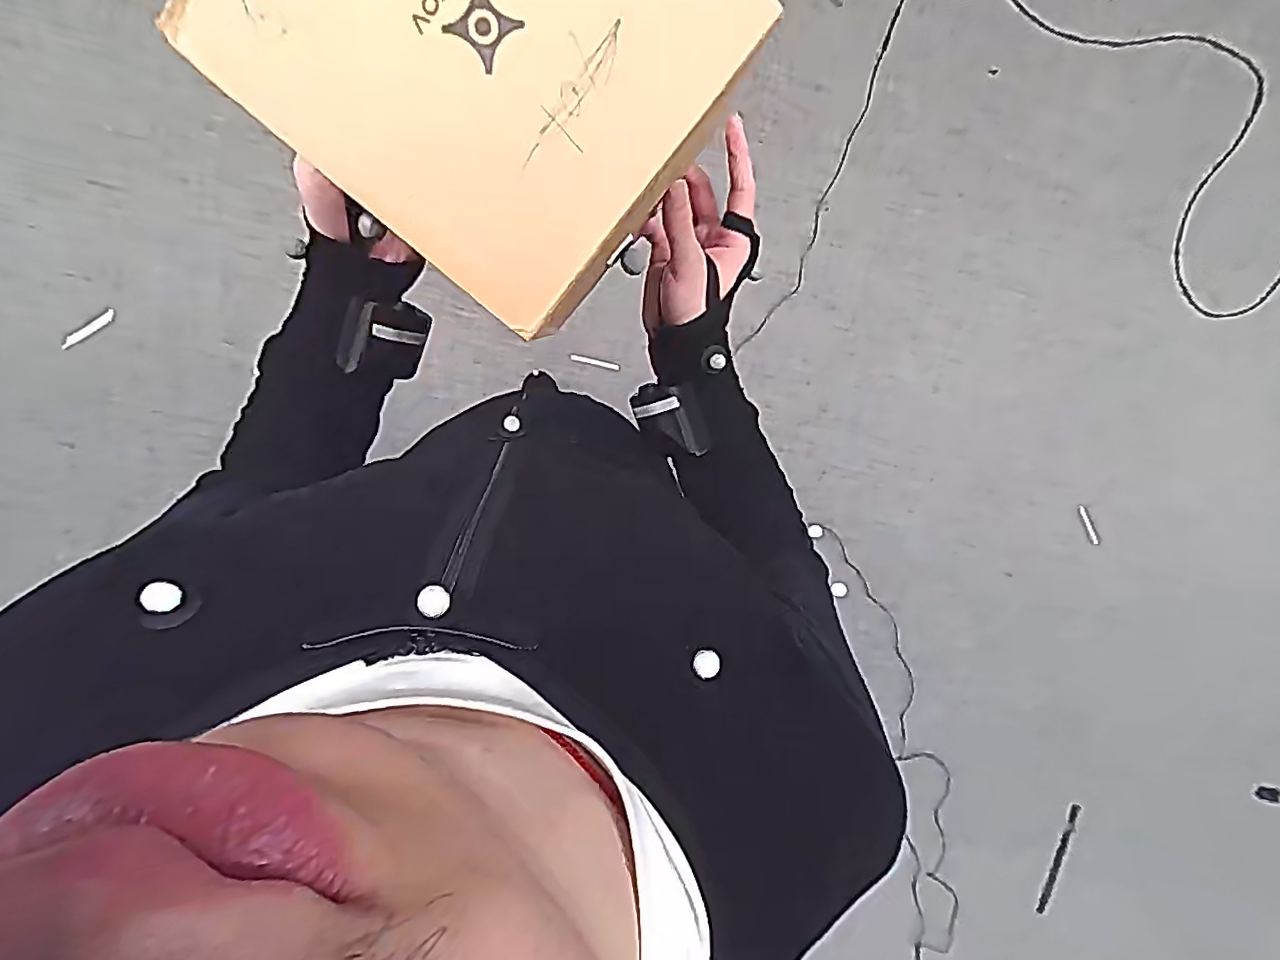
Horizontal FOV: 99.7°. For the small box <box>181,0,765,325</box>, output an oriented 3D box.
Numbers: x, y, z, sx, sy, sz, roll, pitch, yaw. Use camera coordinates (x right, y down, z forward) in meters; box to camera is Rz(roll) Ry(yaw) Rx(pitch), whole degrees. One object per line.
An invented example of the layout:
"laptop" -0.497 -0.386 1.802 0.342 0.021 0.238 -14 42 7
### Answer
"small box" -0.069 -0.202 0.293 0.179 0.176 0.168 38 101 -13
